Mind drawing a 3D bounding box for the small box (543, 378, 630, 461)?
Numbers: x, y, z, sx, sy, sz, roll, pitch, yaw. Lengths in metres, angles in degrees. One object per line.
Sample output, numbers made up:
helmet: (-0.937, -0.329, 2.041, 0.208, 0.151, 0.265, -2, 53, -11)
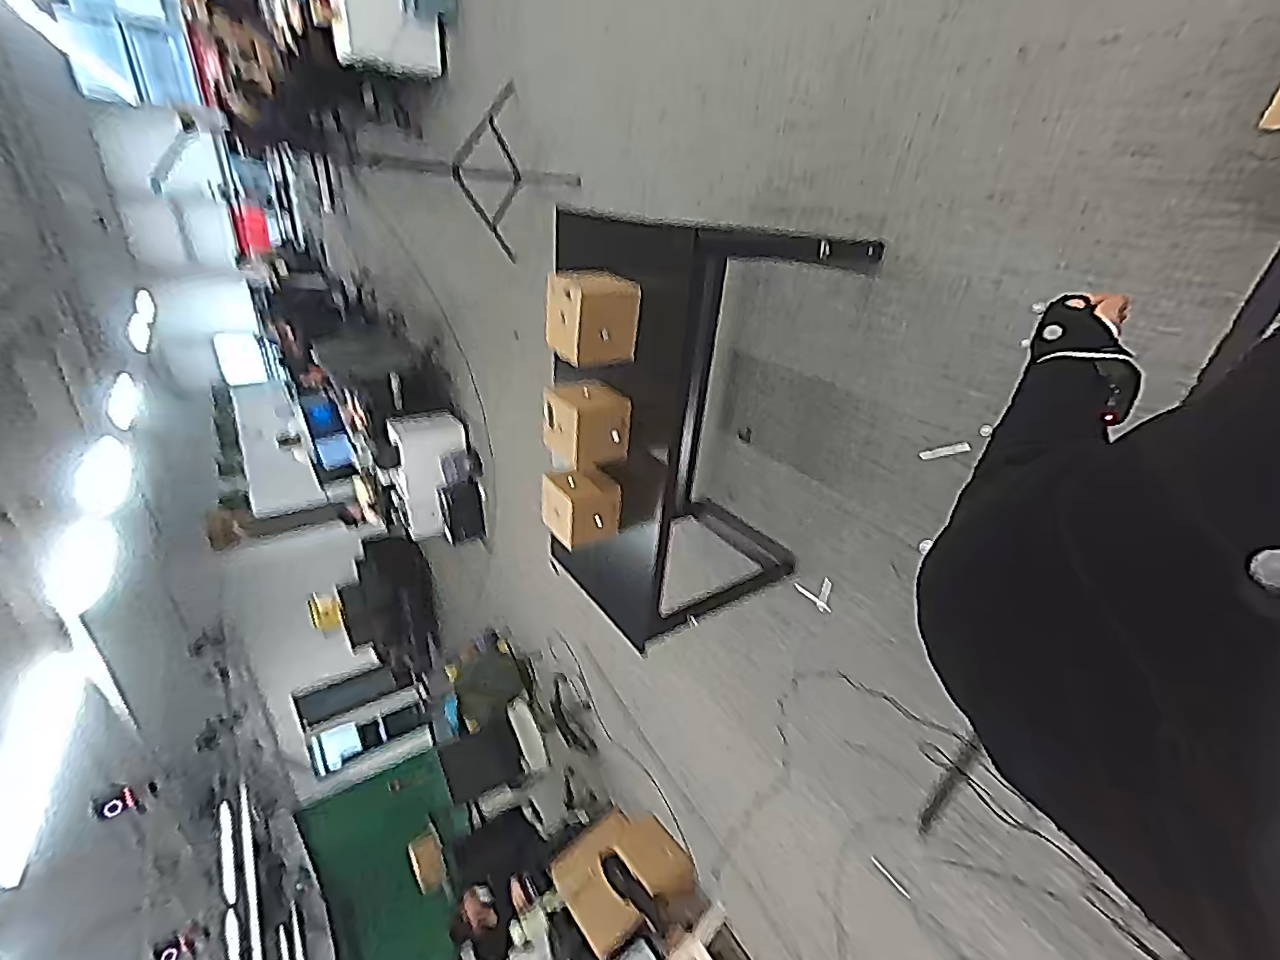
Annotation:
small box: (-0.149, -0.173, 1.471, 0.179, 0.176, 0.168, 37, 131, 43)

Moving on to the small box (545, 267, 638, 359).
small box: (-0.121, -0.416, 1.333, 0.168, 0.176, 0.179, 40, 134, 42)

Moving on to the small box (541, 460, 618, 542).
small box: (-0.180, 0.054, 1.605, 0.179, 0.176, 0.168, 38, 131, 43)
